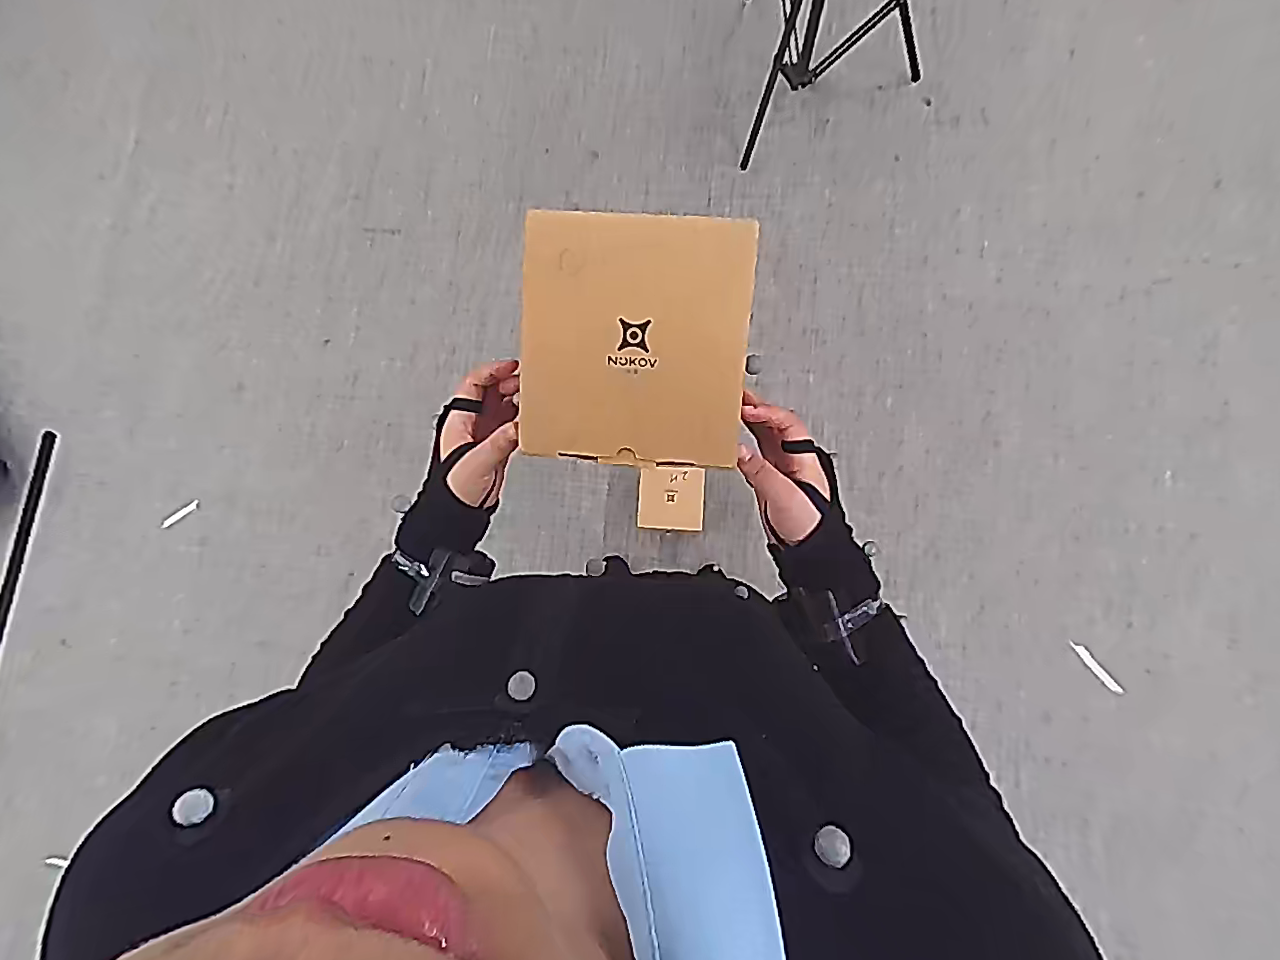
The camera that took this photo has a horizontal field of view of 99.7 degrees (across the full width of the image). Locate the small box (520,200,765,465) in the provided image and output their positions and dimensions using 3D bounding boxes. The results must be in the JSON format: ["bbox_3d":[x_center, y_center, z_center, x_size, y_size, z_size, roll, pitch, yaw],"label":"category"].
[{"bbox_3d":[0.003,-0.114,0.461,0.168,0.176,0.179,4,100,3],"label":"small box"}]

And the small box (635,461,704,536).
[{"bbox_3d":[0.084,0.054,1.439,0.168,0.176,0.179,4,81,5],"label":"small box"}]
